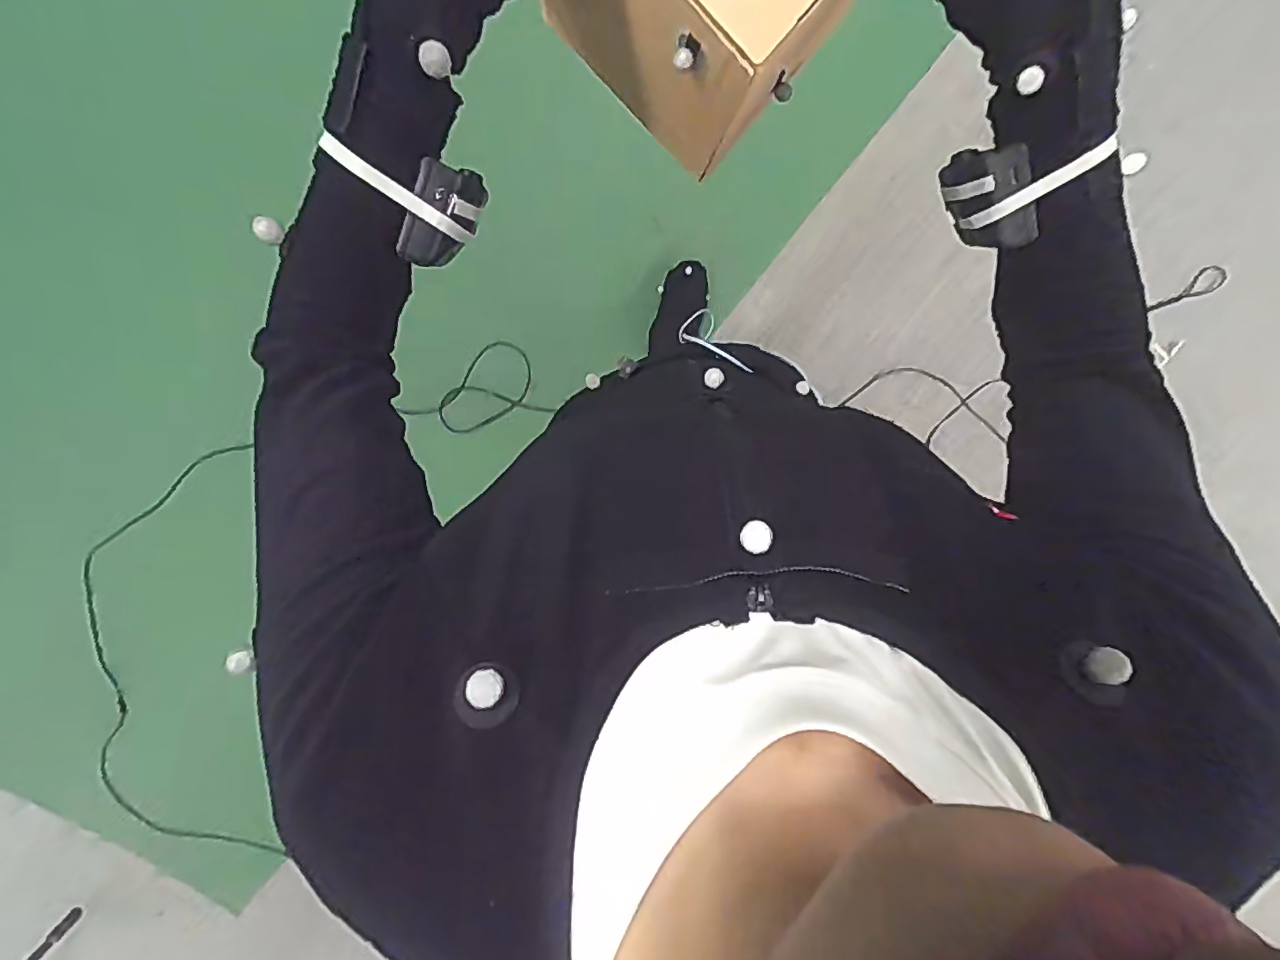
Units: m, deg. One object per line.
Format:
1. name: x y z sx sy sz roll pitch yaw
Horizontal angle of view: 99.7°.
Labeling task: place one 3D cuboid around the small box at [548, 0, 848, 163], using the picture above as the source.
1. small box: 0.047 -0.358 0.357 0.179 0.176 0.168 42 94 -12
